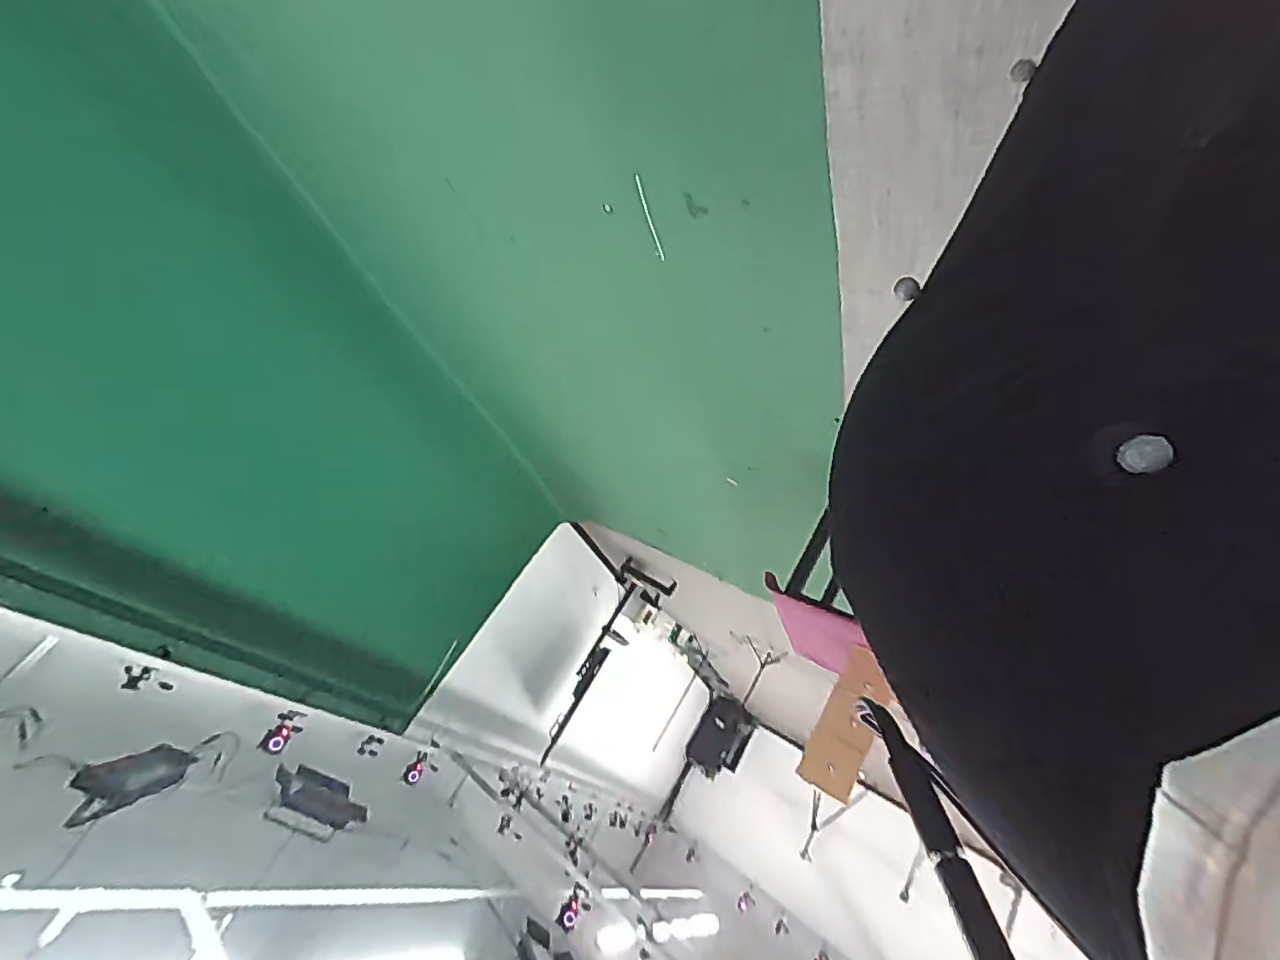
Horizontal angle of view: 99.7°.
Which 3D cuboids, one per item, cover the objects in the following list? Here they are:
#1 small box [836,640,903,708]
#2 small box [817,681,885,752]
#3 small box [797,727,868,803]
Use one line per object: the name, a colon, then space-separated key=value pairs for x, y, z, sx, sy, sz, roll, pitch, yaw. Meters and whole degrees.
small box: x=0.821 y=0.704 z=1.948 sx=0.179 sy=0.176 sz=0.168 roll=24 pitch=158 yaw=25
small box: x=0.736 y=0.830 z=1.891 sx=0.179 sy=0.176 sz=0.168 roll=21 pitch=156 yaw=27
small box: x=0.650 y=0.960 z=1.835 sx=0.179 sy=0.176 sz=0.168 roll=21 pitch=156 yaw=28
